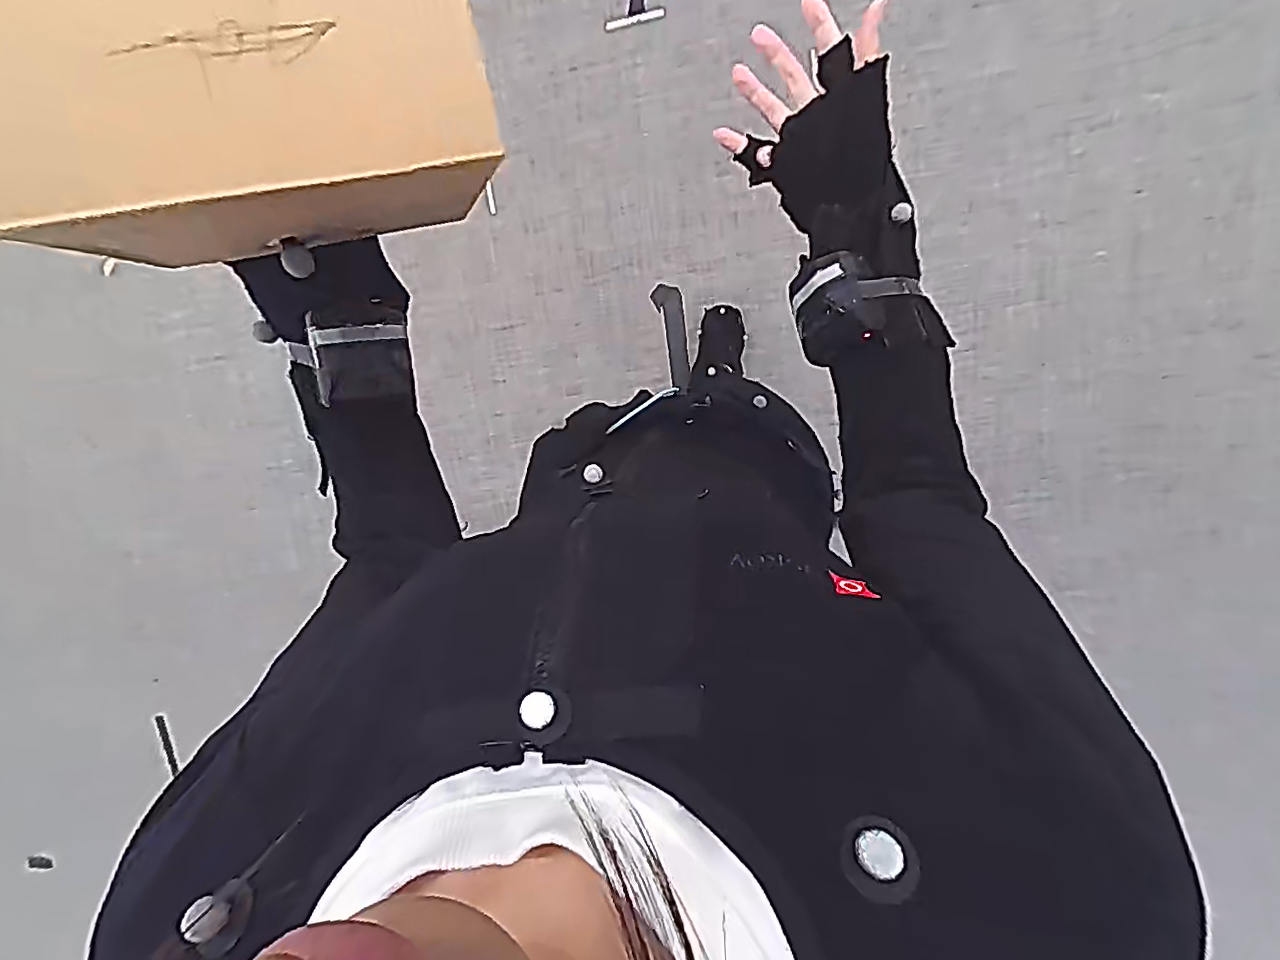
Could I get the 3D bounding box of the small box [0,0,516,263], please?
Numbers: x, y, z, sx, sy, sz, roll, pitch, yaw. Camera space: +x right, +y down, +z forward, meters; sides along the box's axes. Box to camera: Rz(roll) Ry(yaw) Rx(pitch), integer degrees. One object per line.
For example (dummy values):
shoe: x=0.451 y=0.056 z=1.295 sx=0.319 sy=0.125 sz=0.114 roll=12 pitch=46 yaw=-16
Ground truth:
small box: x=-0.171 y=-0.208 z=0.240 sx=0.168 sy=0.176 sz=0.179 roll=-19 pitch=113 yaw=-17
